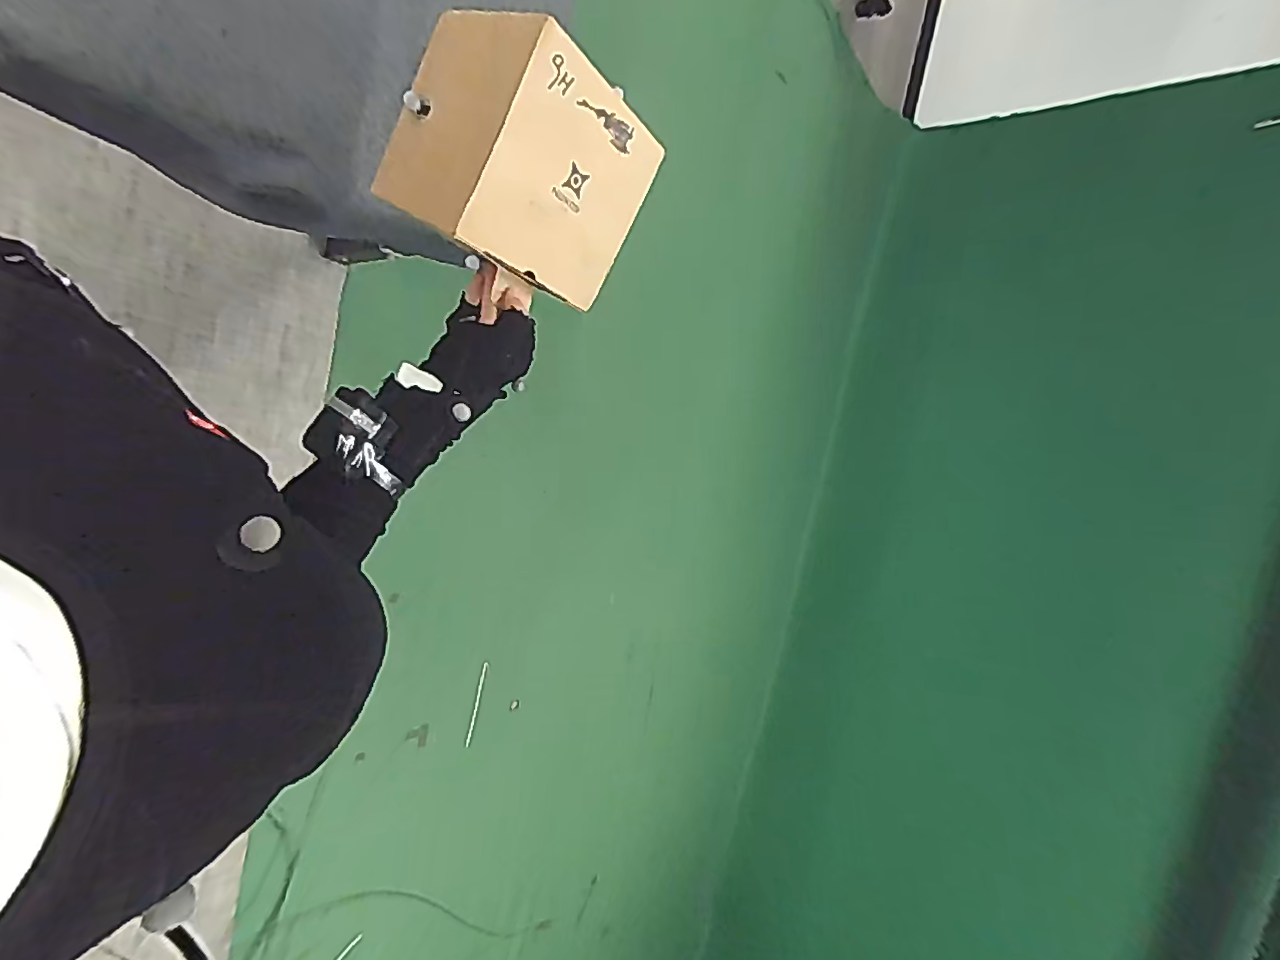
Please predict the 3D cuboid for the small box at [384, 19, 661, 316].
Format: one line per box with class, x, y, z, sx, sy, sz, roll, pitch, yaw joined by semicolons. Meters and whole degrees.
small box;-0.118;-0.295;0.525;0.168;0.176;0.179;13;111;-56
